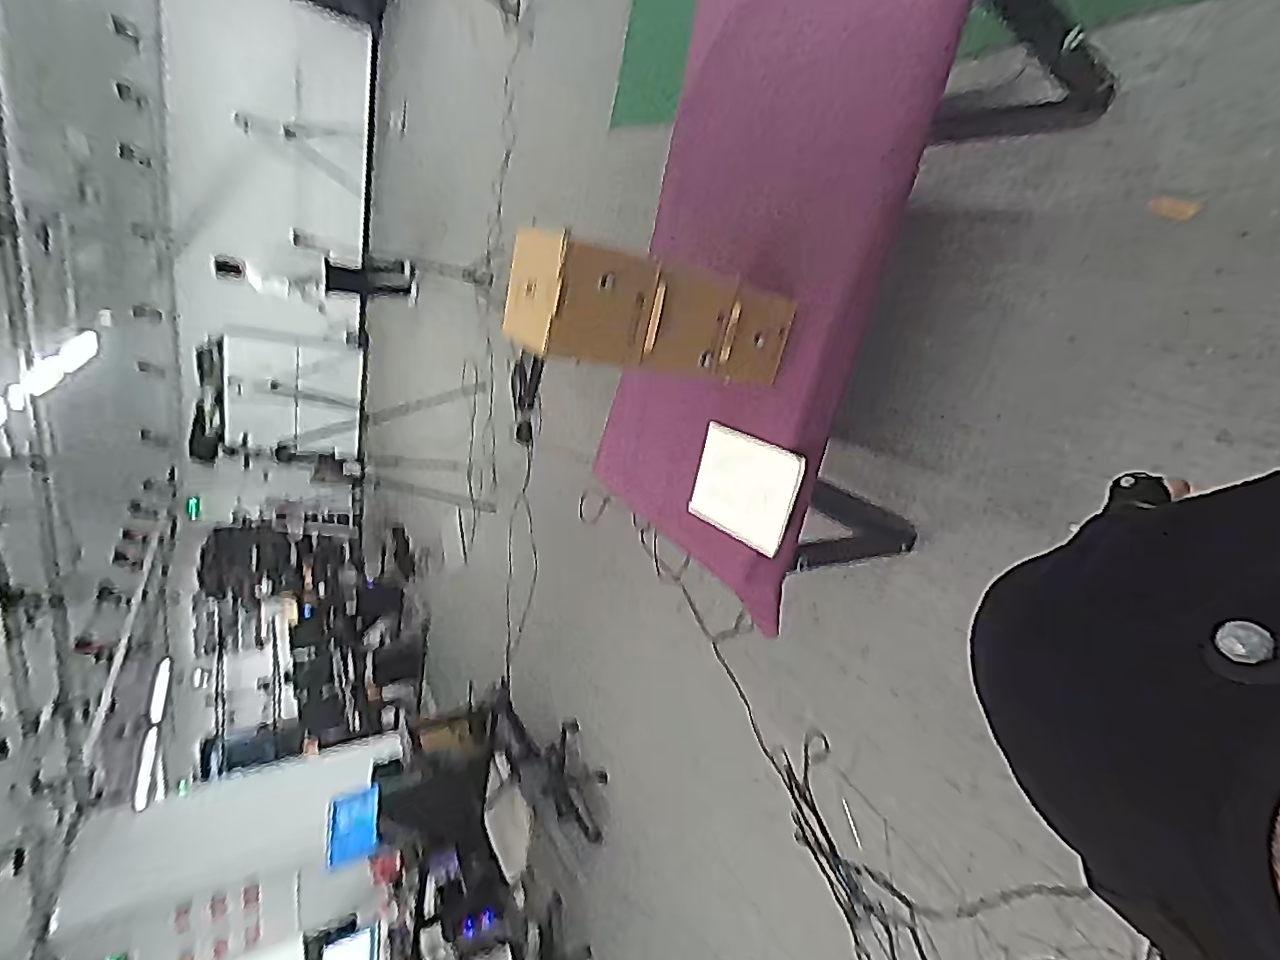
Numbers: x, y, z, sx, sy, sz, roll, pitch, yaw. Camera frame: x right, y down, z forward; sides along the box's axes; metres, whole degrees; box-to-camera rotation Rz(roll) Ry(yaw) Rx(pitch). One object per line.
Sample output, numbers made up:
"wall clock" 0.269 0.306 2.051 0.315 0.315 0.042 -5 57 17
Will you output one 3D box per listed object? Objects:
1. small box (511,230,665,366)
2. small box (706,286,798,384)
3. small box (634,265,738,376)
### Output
"small box" -0.085 -0.284 0.857 0.179 0.176 0.168 37 119 49
"small box" 0.177 -0.289 1.056 0.179 0.176 0.168 35 118 48
"small box" 0.046 -0.286 0.955 0.179 0.176 0.168 37 119 50
